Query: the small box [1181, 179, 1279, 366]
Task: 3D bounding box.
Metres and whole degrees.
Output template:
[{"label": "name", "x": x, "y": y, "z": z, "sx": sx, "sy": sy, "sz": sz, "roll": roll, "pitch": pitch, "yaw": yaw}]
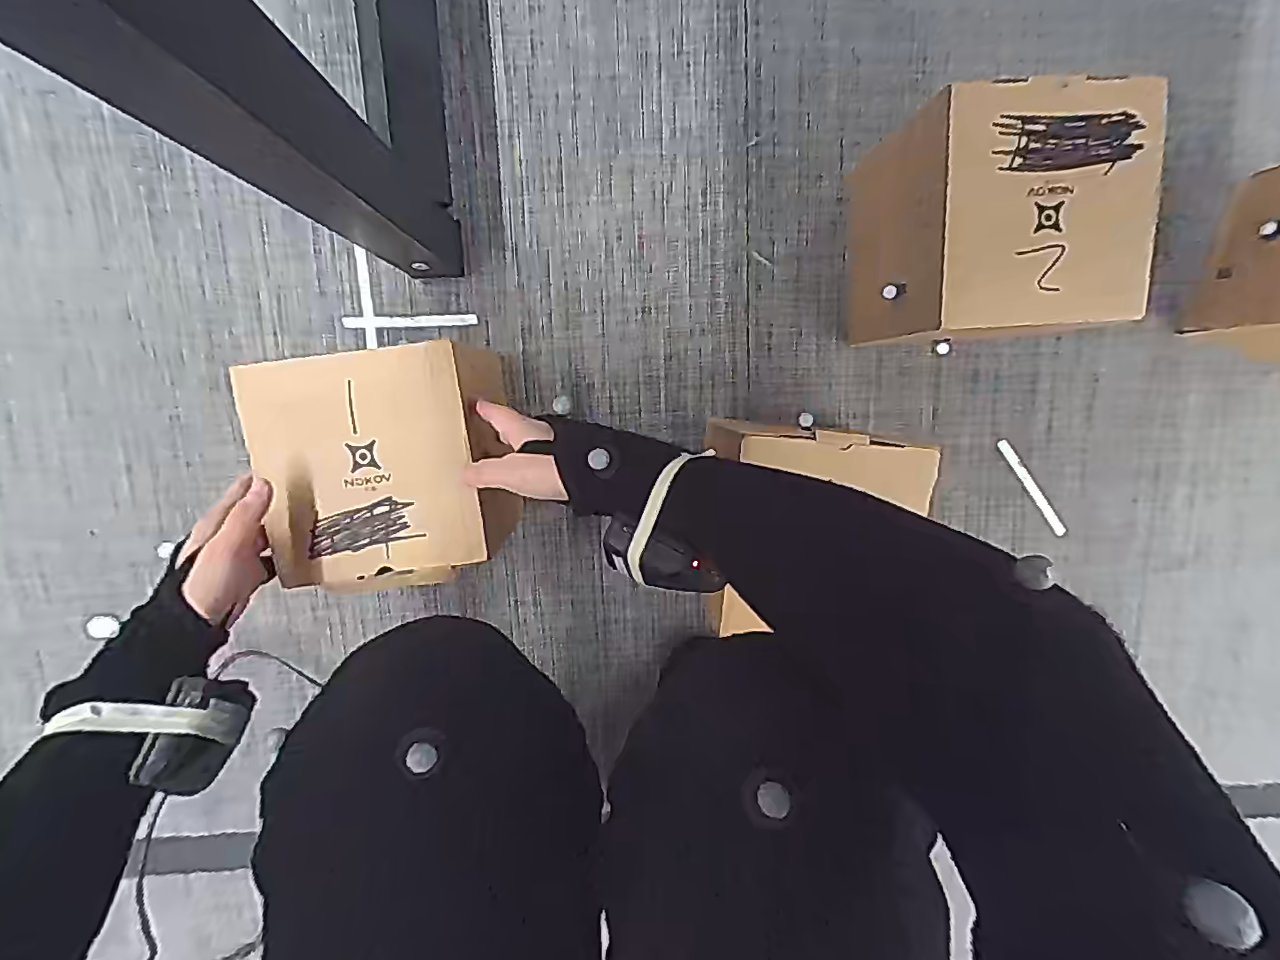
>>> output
[{"label": "small box", "x": 0.696, "y": -0.202, "z": 0.510, "sx": 0.179, "sy": 0.176, "sz": 0.168, "roll": 15, "pitch": 98, "yaw": -4}]
